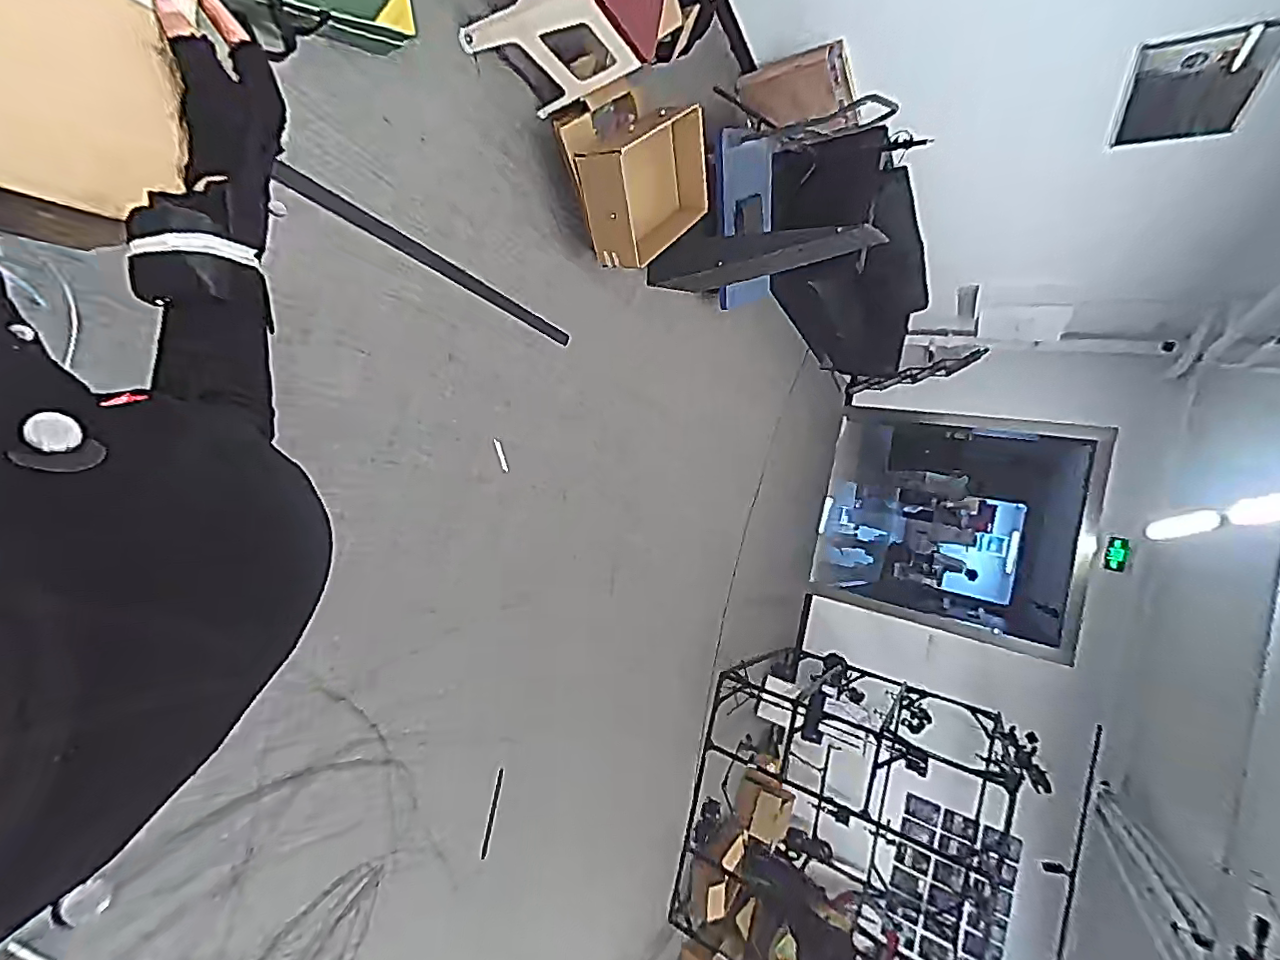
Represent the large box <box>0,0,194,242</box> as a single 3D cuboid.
[{"bbox_3d":[-0.576,-0.371,0.328,0.408,0.320,0.320,-2,104,-57],"label":"large box"}]
